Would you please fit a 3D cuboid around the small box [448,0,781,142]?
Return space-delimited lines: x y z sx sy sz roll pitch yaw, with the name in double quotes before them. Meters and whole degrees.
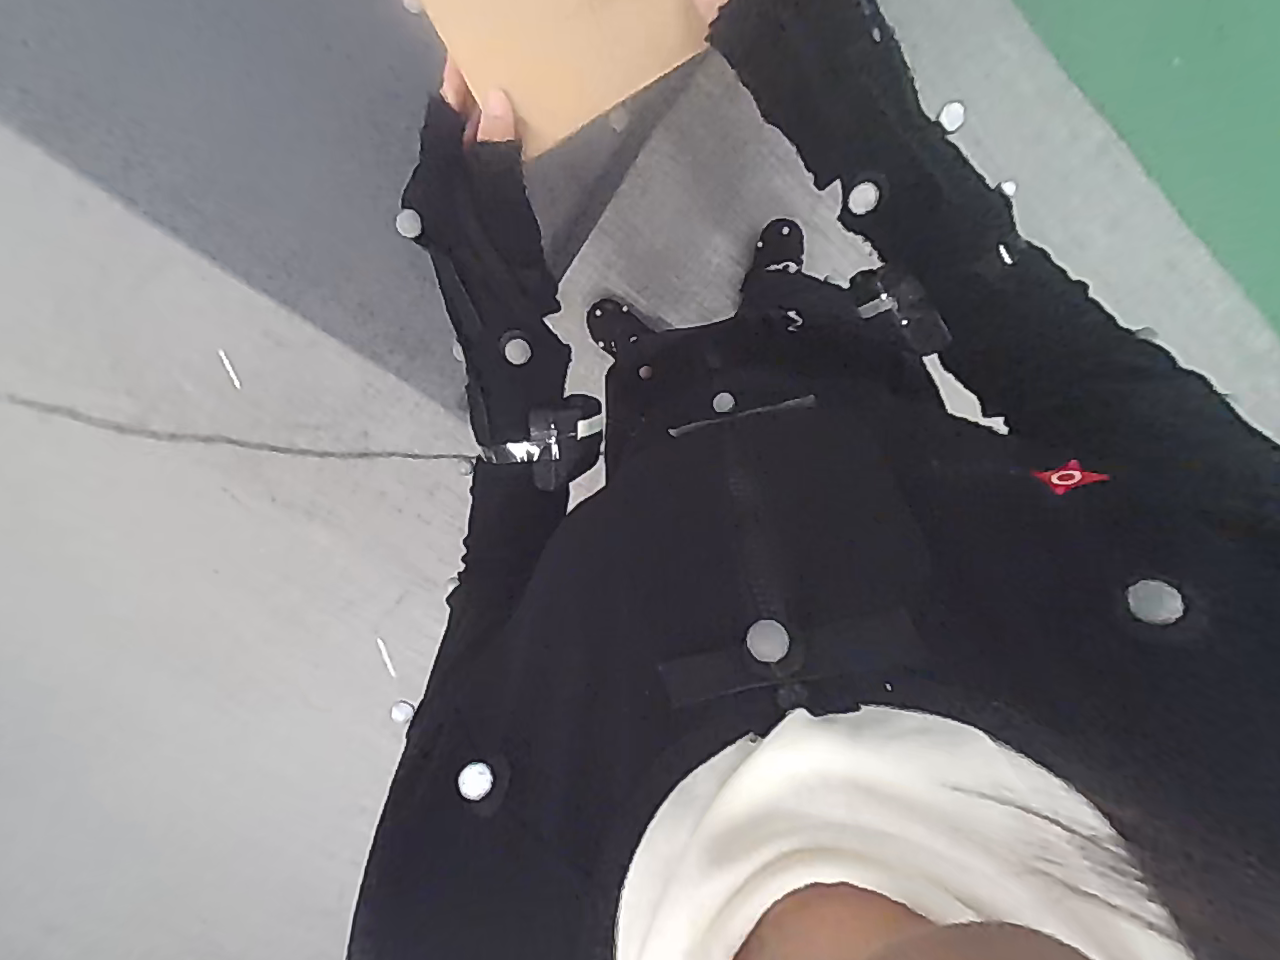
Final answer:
"small box" -0.037 -0.326 0.309 0.168 0.176 0.179 -24 125 11
